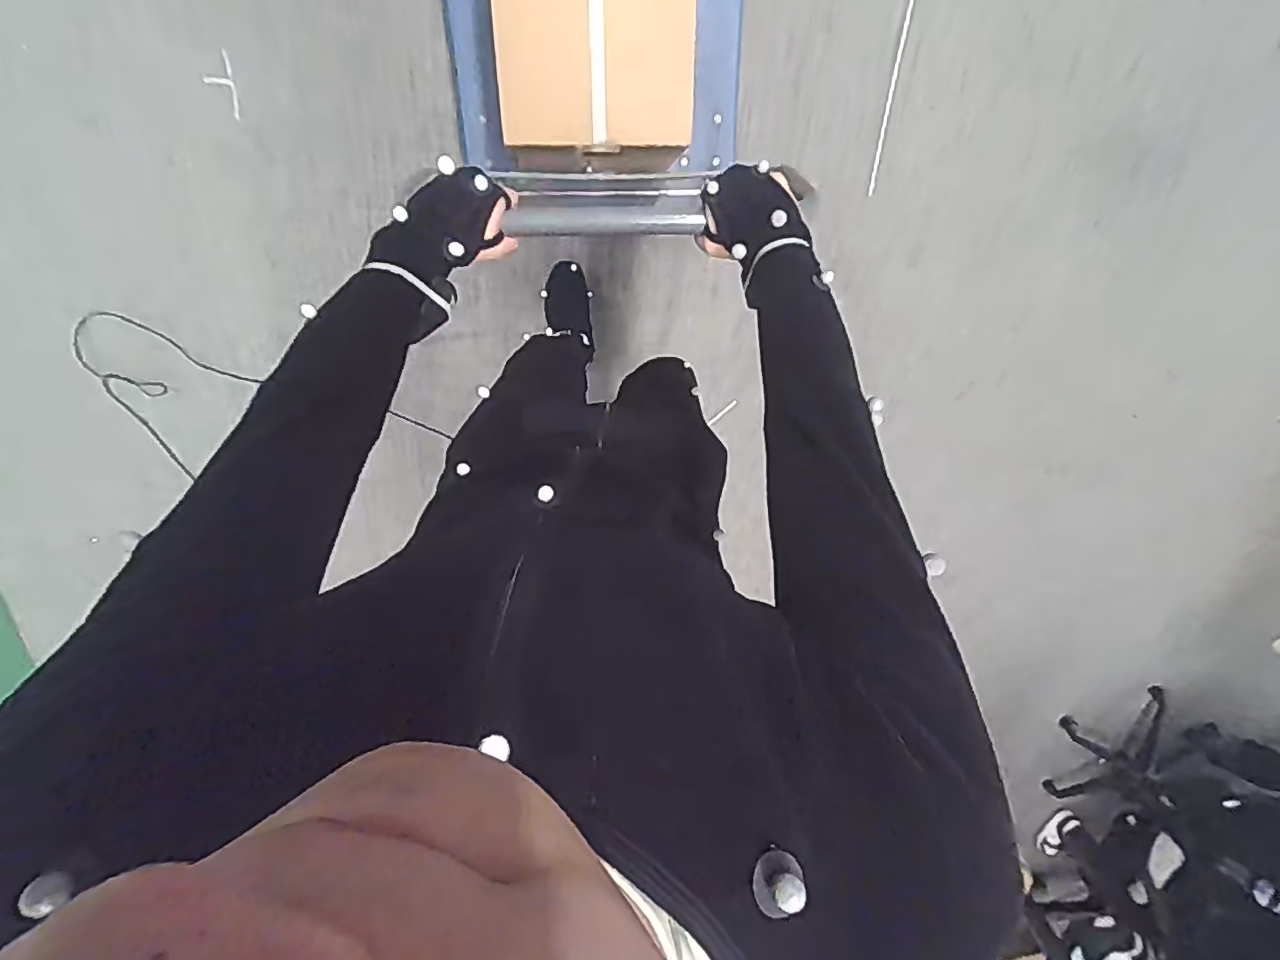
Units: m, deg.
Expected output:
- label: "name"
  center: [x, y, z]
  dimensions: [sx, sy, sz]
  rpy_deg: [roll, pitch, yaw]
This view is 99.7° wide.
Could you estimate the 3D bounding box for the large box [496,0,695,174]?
- label: "large box"
  center: [-0.074, -0.800, 0.973]
  dimensions: [0.320, 0.320, 0.408]
  rpy_deg: [-1, 113, -3]
